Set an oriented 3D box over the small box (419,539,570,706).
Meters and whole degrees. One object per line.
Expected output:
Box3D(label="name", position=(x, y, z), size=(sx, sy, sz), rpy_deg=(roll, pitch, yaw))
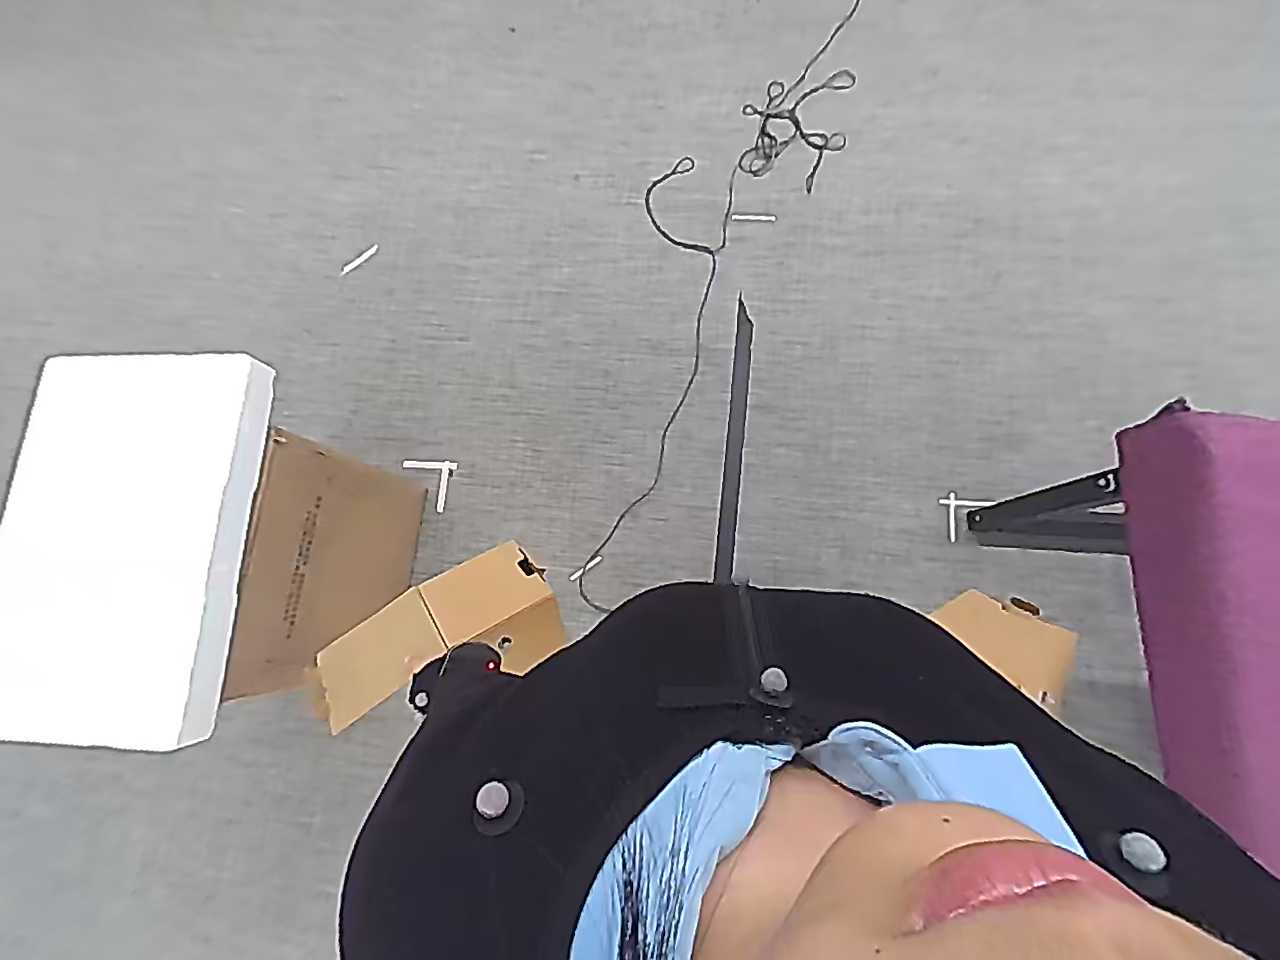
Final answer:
Box3D(label="small box", position=(-0.238, 0.237, 0.904), size=(0.179, 0.176, 0.168), rpy_deg=(-26, 40, -24))
